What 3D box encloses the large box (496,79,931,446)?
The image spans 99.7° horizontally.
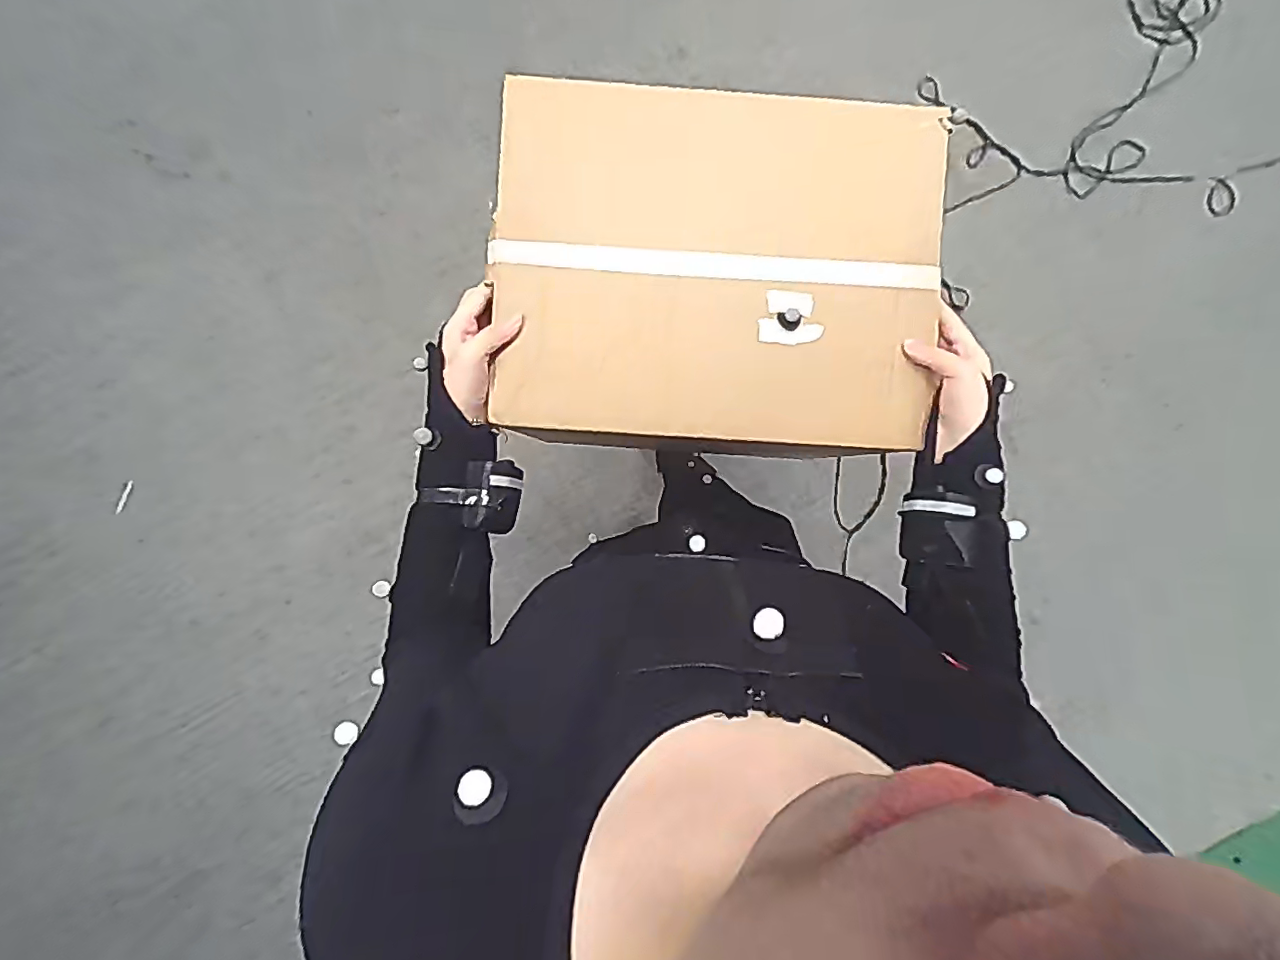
[{"bbox_3d":[0.063,-0.208,0.647,0.408,0.320,0.320,3,91,-2],"label":"large box"}]
